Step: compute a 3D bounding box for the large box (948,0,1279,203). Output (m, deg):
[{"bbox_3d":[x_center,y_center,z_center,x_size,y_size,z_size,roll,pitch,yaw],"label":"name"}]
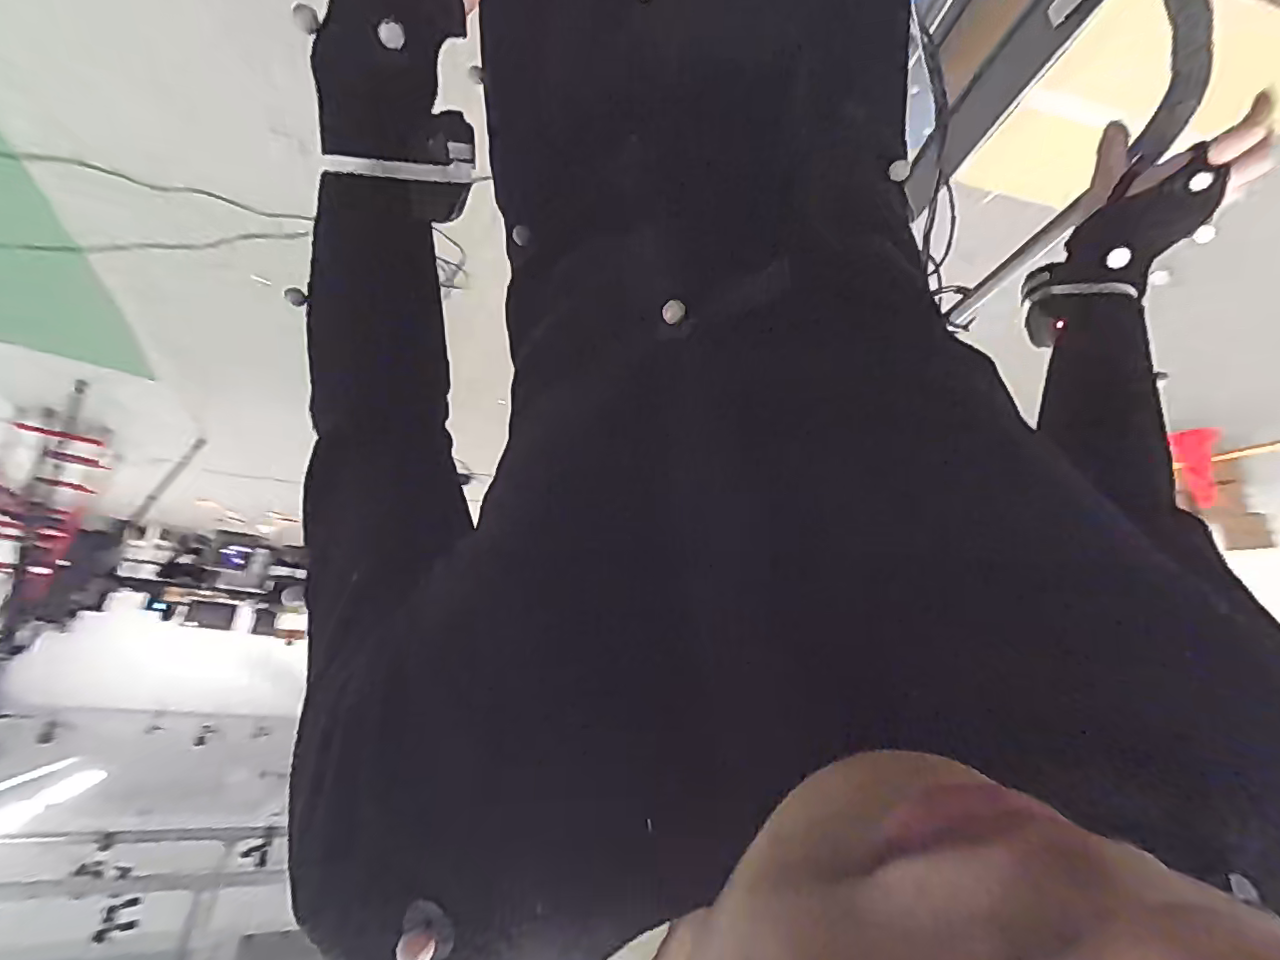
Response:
[{"bbox_3d":[0.772,-0.692,0.831,0.408,0.320,0.320,7,159,-7],"label":"large box"}]
